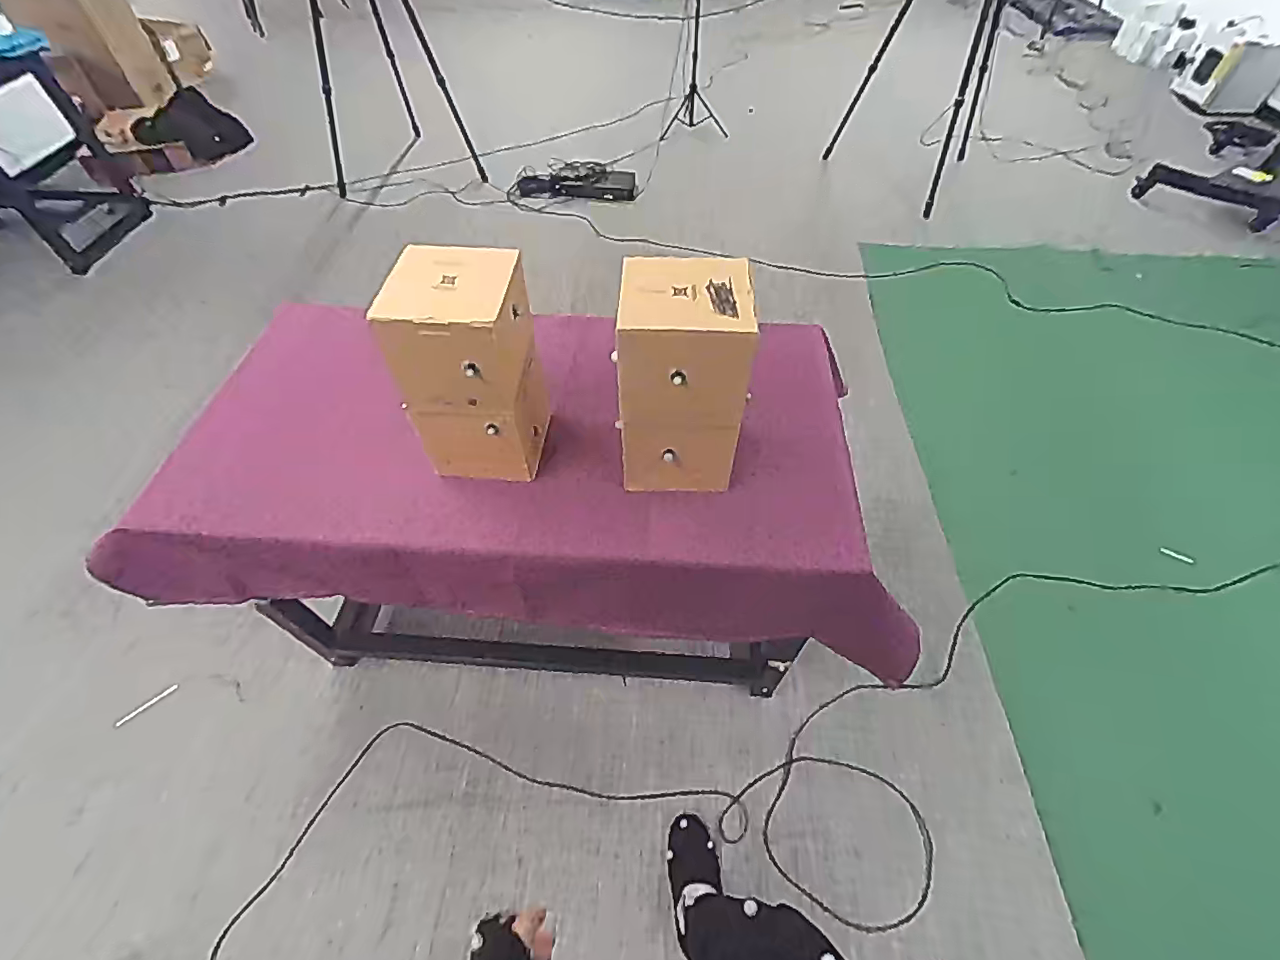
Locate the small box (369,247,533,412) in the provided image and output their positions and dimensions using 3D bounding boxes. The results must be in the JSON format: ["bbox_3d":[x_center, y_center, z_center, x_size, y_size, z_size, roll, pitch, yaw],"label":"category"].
[{"bbox_3d":[-0.261,-0.218,0.798,0.168,0.176,0.179,3,52,1],"label":"small box"}]

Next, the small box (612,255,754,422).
[{"bbox_3d":[0.057,-0.197,0.771,0.179,0.176,0.168,2,52,2],"label":"small box"}]

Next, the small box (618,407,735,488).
[{"bbox_3d":[0.059,-0.099,0.904,0.179,0.176,0.168,1,53,2],"label":"small box"}]

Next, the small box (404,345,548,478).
[{"bbox_3d":[-0.267,-0.119,0.927,0.179,0.176,0.168,4,52,2],"label":"small box"}]
